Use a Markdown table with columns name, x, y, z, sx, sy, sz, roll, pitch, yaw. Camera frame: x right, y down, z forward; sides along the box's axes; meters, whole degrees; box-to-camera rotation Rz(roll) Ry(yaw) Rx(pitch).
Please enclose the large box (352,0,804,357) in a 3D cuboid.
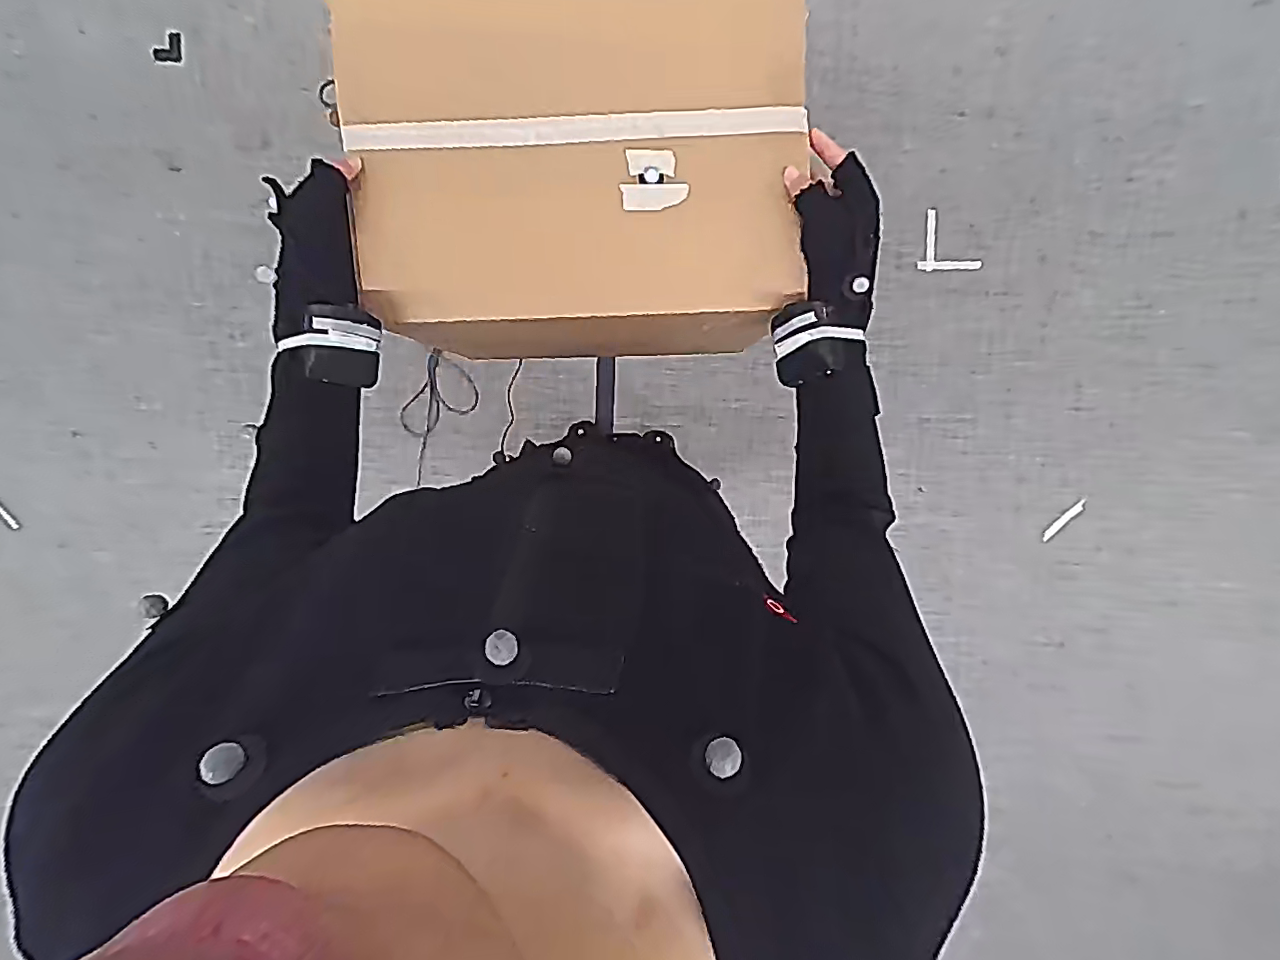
| name | x | y | z | sx | sy | sz | roll | pitch | yaw |
| --- | --- | --- | --- | --- | --- | --- | --- | --- | --- |
| large box | -0.054 | -0.327 | 0.637 | 0.408 | 0.320 | 0.320 | -2 | 97 | 0 |
